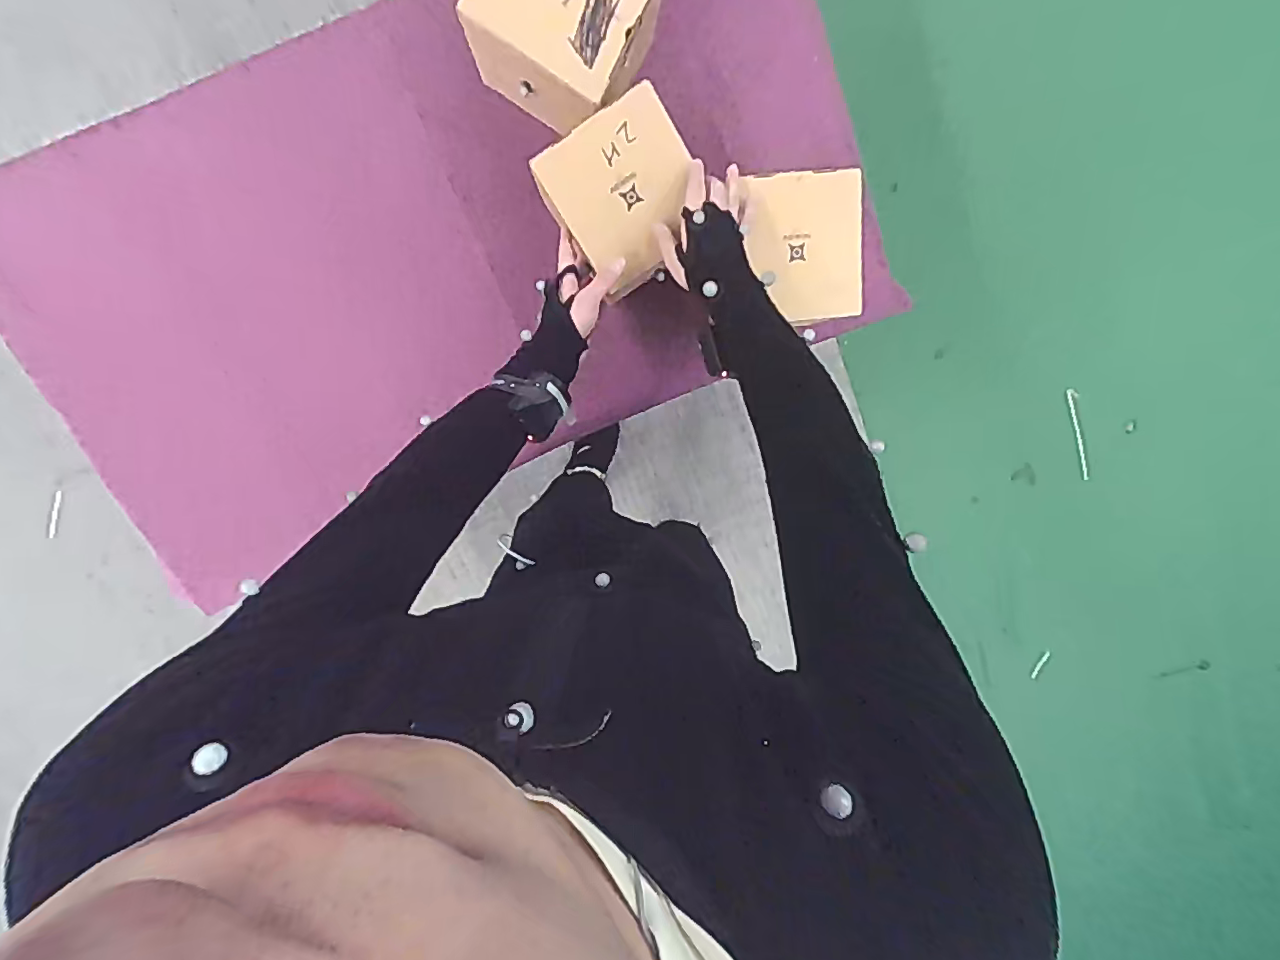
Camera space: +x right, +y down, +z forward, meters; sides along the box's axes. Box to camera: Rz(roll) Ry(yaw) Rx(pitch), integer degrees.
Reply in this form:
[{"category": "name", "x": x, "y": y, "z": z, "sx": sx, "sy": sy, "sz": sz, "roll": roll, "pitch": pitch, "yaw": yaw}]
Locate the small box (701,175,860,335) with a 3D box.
[{"category": "small box", "x": 0.184, "y": -0.294, "z": 0.744, "sx": 0.168, "sy": 0.176, "sz": 0.179, "roll": -6, "pitch": 102, "yaw": -5}]
